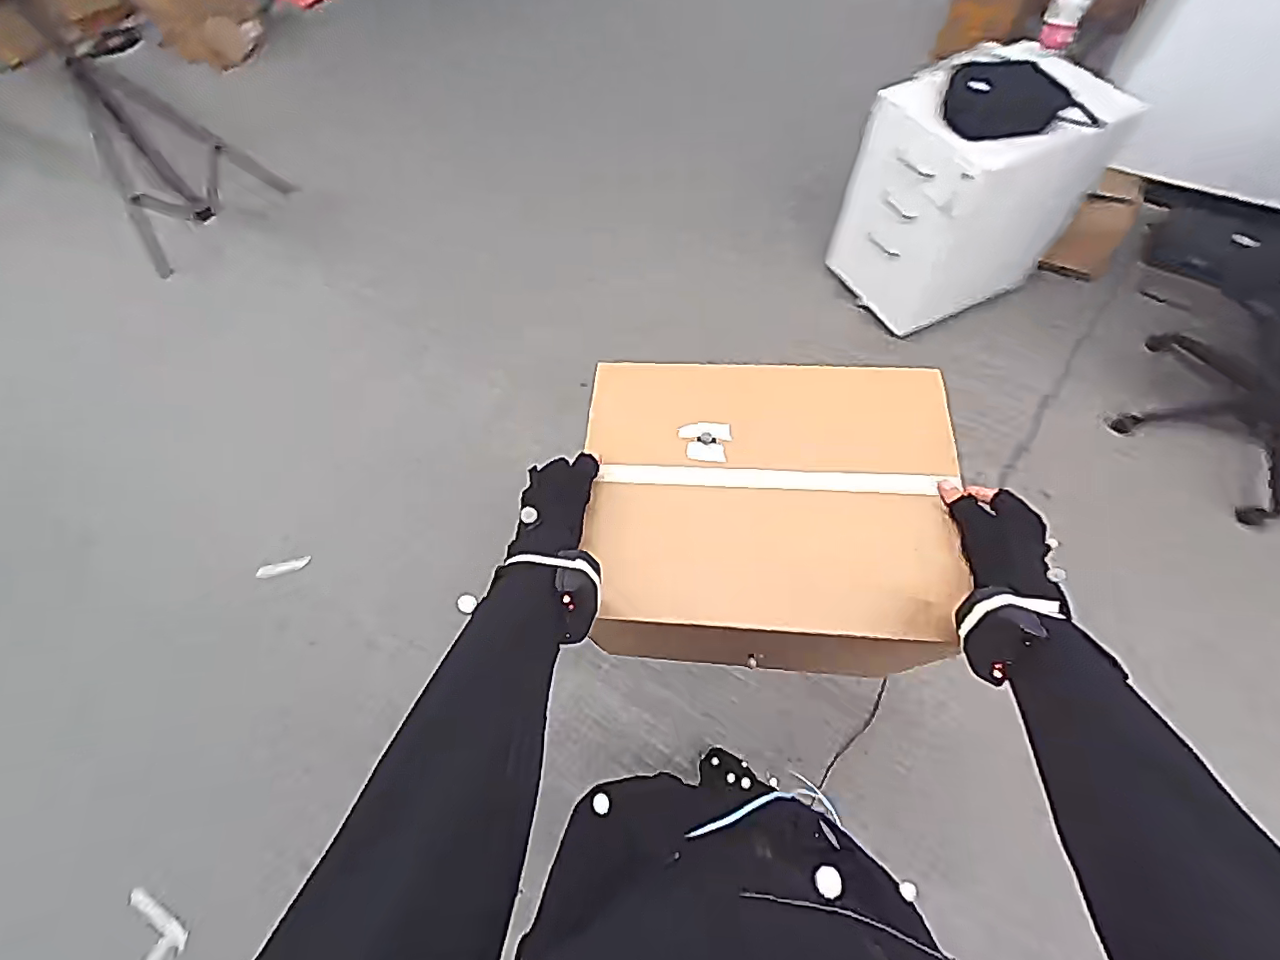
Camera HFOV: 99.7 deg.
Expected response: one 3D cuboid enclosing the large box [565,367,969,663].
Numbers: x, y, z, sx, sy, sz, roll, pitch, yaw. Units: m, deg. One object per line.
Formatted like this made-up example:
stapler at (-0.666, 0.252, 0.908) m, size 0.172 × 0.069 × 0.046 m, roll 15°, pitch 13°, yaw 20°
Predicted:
large box at (0.145, 0.066, 0.732) m, size 0.408 × 0.320 × 0.320 m, roll 1°, pitch 64°, yaw 7°
